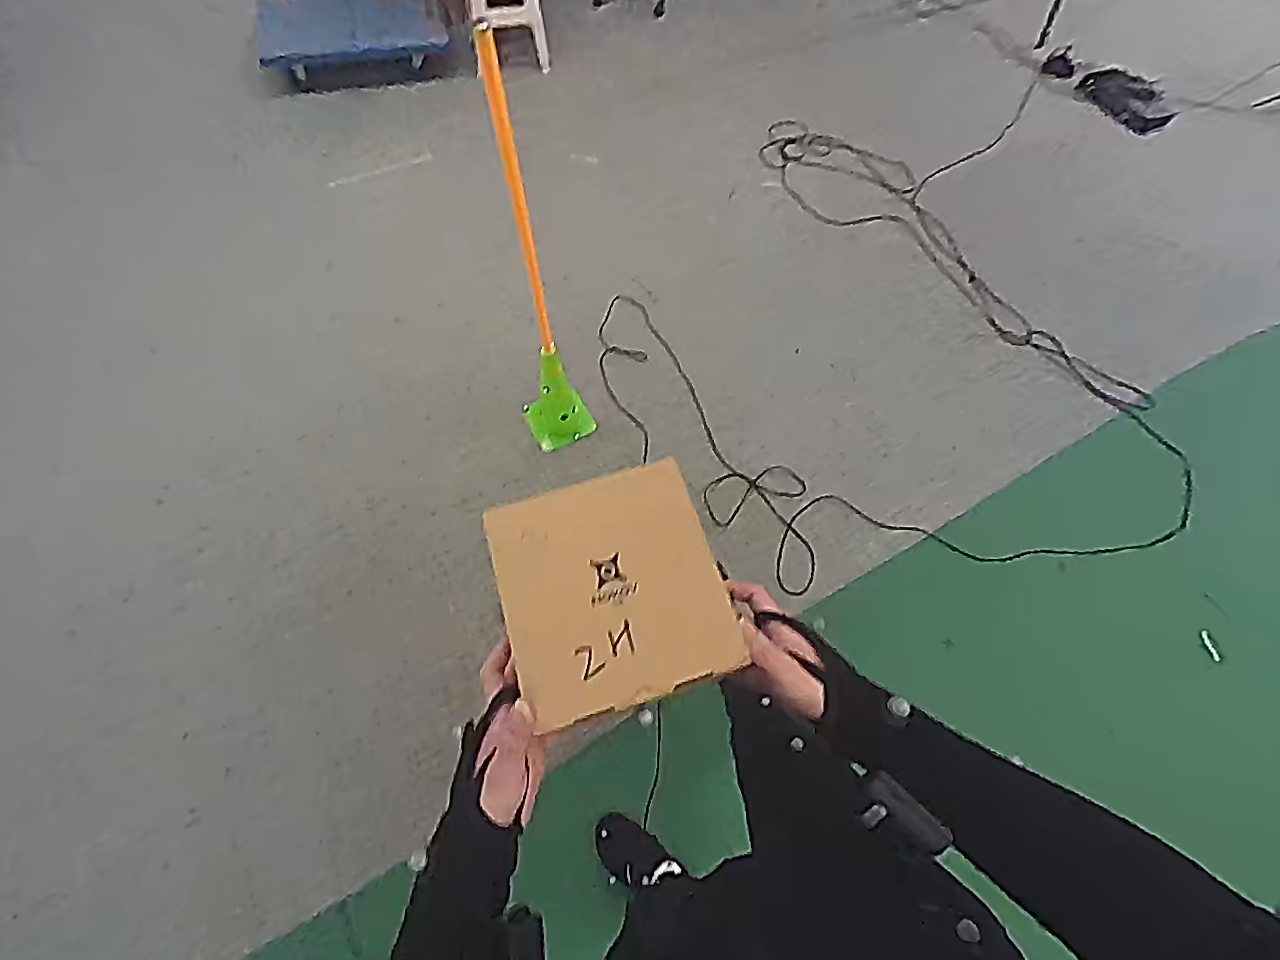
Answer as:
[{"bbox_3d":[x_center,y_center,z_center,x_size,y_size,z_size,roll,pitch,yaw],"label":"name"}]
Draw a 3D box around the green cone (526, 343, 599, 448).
[{"bbox_3d":[-0.255,-0.292,1.703,0.202,0.368,0.200,-25,67,-16],"label":"green cone"}]
